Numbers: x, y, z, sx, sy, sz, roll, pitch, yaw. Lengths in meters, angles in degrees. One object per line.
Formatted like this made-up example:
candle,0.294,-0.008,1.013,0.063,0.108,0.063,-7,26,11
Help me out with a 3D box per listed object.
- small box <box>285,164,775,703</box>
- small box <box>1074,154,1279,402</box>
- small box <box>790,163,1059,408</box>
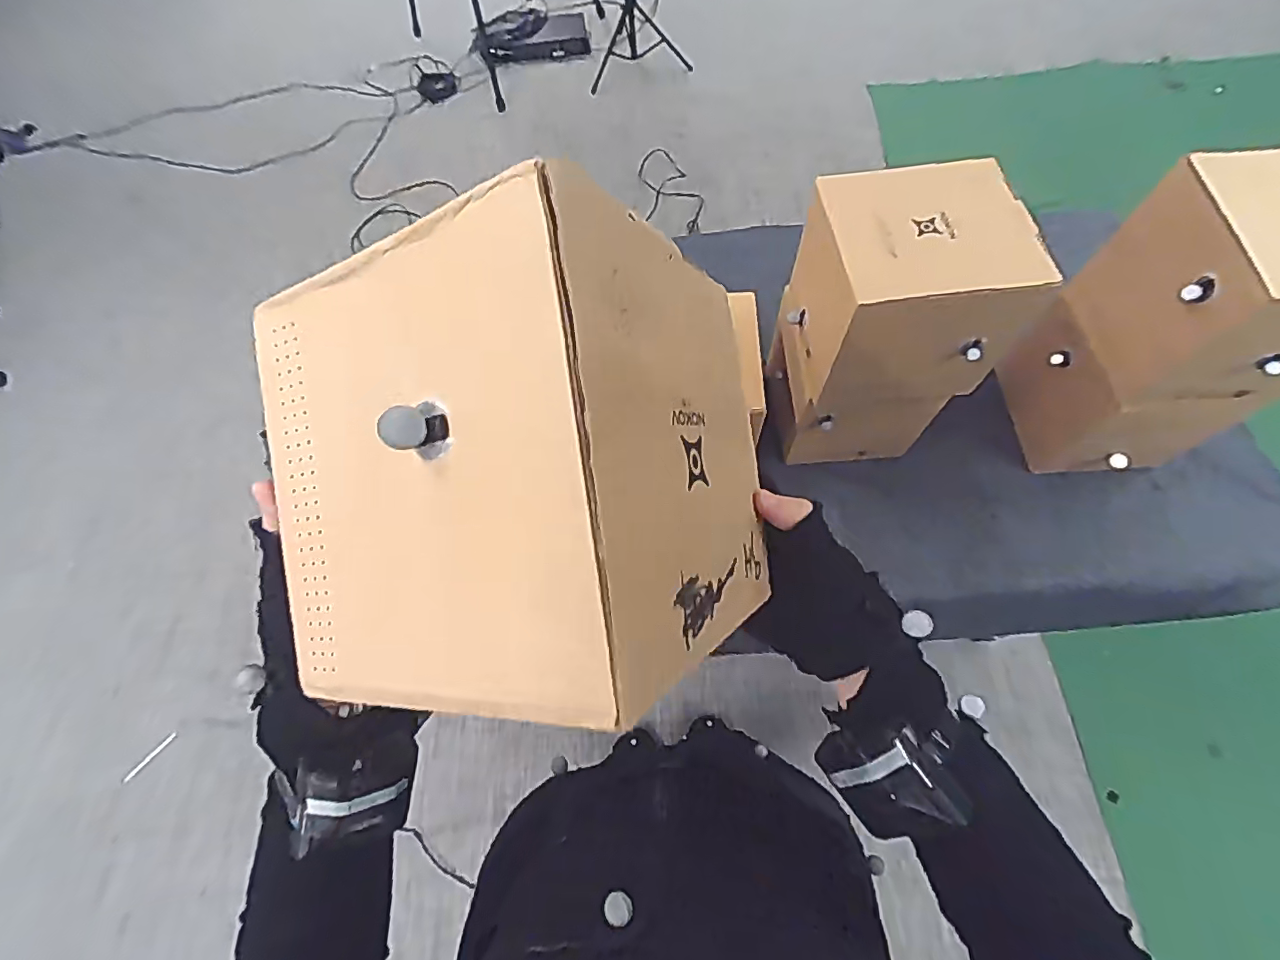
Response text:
small box,-0.046,-0.007,0.273,0.176,0.168,0.179,-9,89,29
small box,0.591,-0.189,0.538,0.168,0.176,0.179,-1,65,4
small box,0.271,-0.193,0.566,0.179,0.176,0.168,-6,64,2
